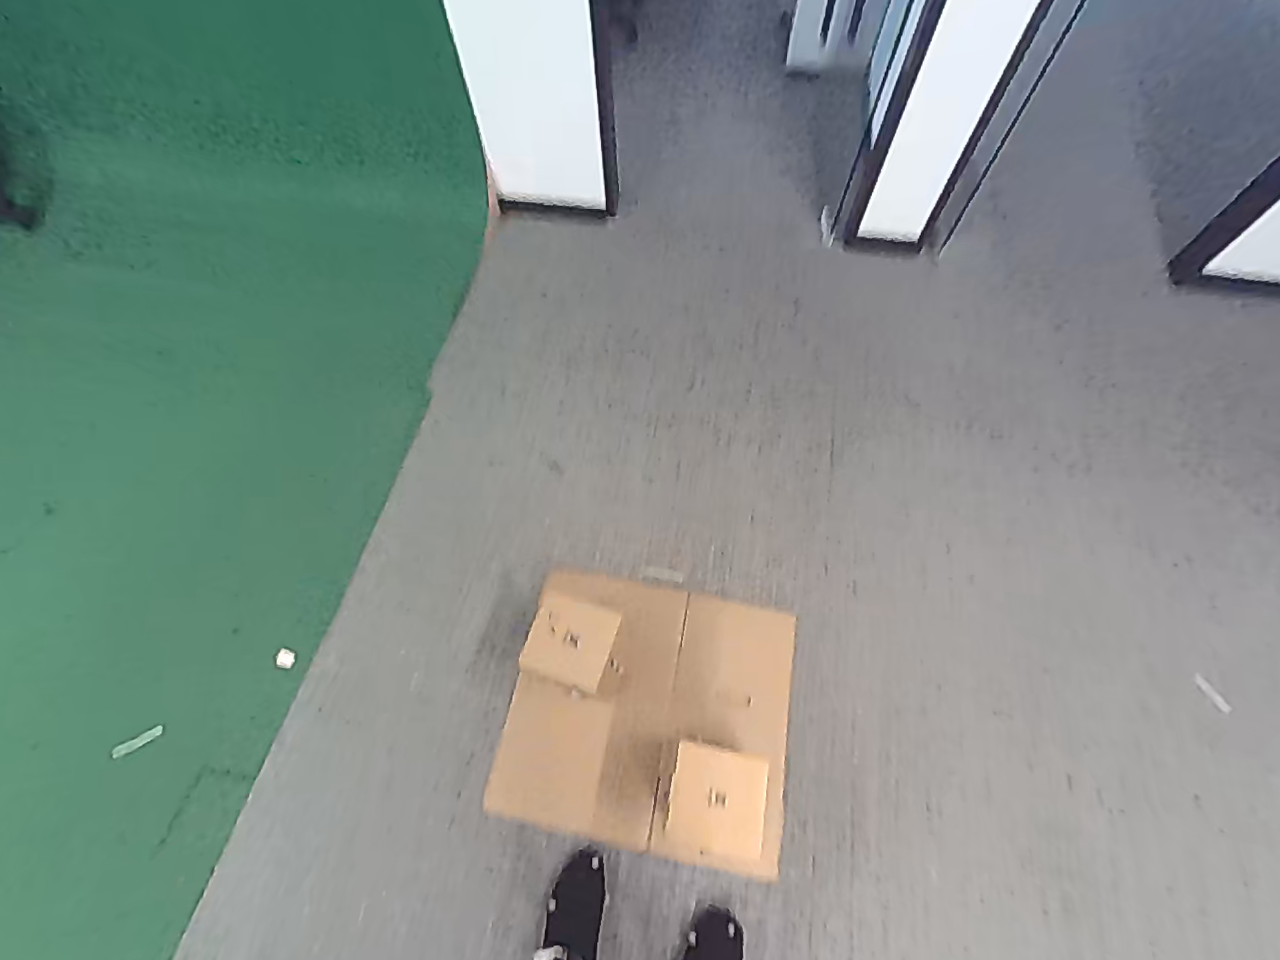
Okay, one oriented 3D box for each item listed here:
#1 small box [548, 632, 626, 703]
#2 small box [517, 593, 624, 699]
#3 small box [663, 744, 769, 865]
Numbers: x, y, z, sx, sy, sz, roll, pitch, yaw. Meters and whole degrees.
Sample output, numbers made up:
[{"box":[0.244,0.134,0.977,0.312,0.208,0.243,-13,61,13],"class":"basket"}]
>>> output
[{"box":[-0.140,0.442,1.342,0.179,0.176,0.168,17,64,10],"class":"small box"},{"box":[-0.142,0.372,1.191,0.179,0.176,0.168,17,64,10],"class":"small box"},{"box":[0.144,0.624,1.062,0.179,0.176,0.168,9,64,7],"class":"small box"}]
